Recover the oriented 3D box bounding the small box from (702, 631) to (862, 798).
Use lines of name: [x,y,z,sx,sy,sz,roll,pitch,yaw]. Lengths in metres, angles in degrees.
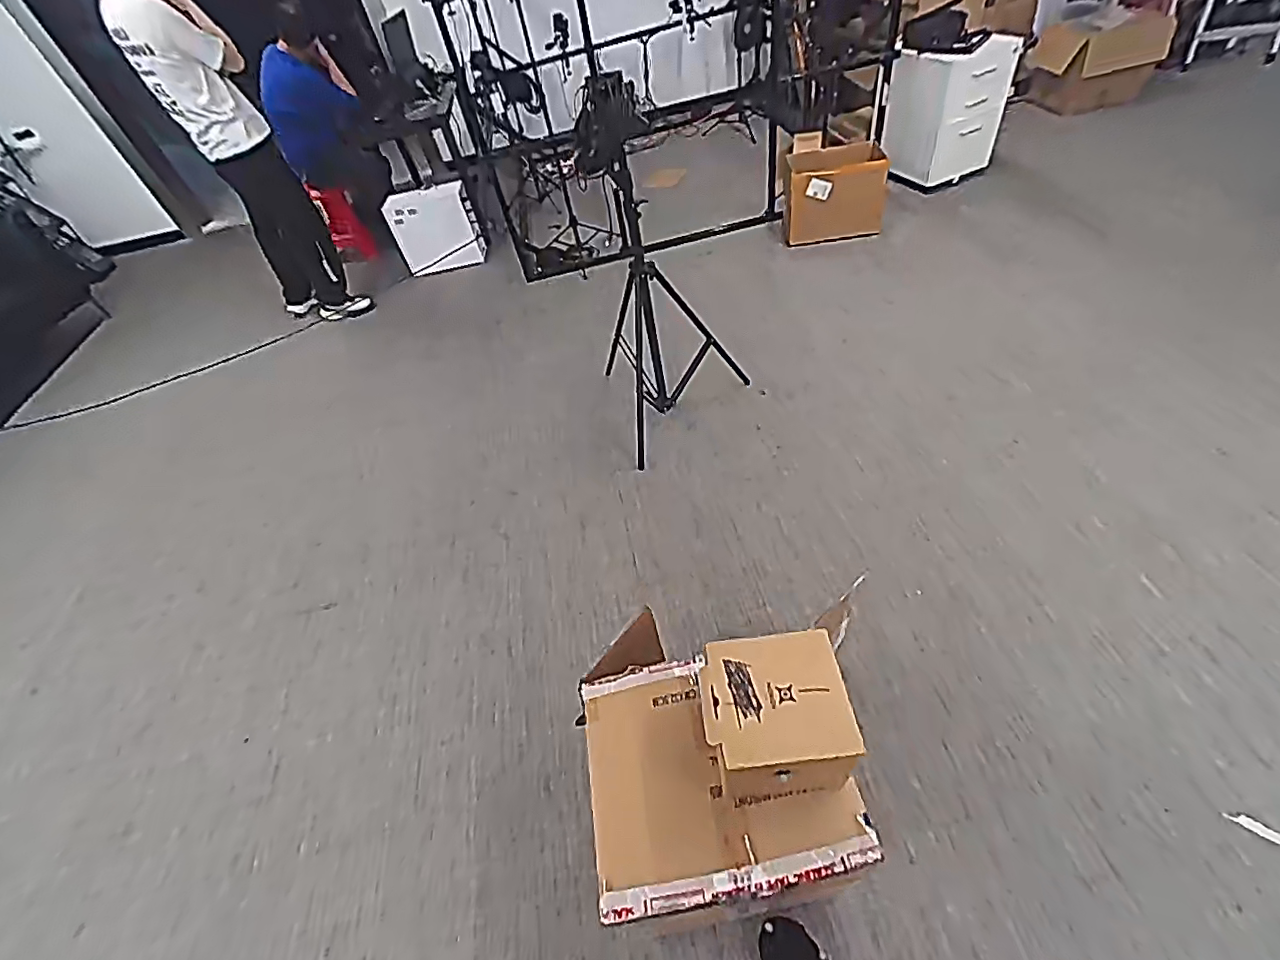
small box: [0.189,0.335,0.766,0.179,0.176,0.168,-8,49,2]
